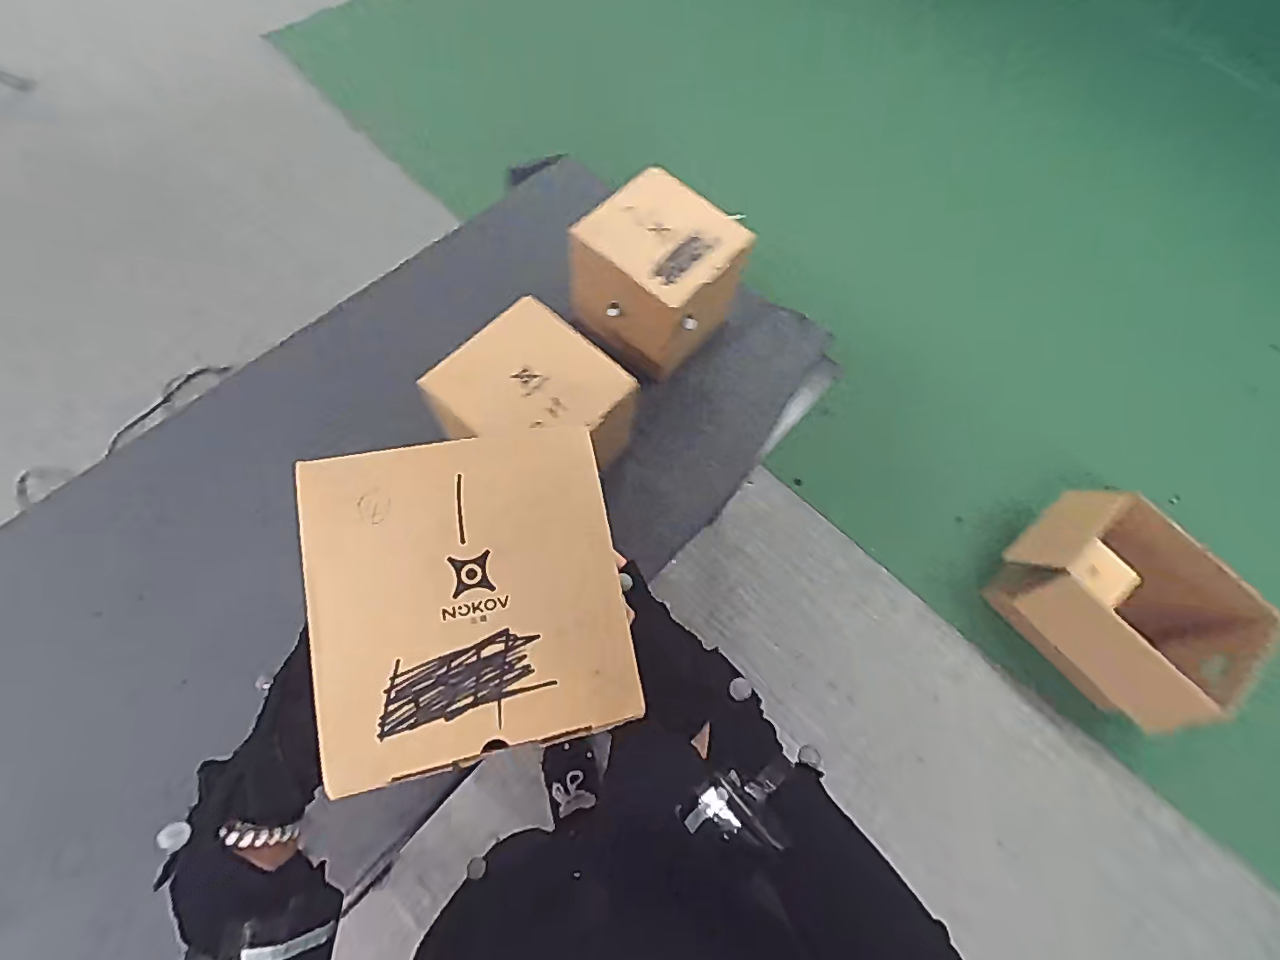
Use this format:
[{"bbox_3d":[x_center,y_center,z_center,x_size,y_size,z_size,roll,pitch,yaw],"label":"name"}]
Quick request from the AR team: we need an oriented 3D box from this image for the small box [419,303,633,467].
[{"bbox_3d":[-0.130,-0.071,0.667,0.179,0.176,0.168,40,71,10],"label":"small box"}]

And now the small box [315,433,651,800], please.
[{"bbox_3d":[-0.099,0.082,0.374,0.168,0.176,0.179,-8,78,-13],"label":"small box"}]
